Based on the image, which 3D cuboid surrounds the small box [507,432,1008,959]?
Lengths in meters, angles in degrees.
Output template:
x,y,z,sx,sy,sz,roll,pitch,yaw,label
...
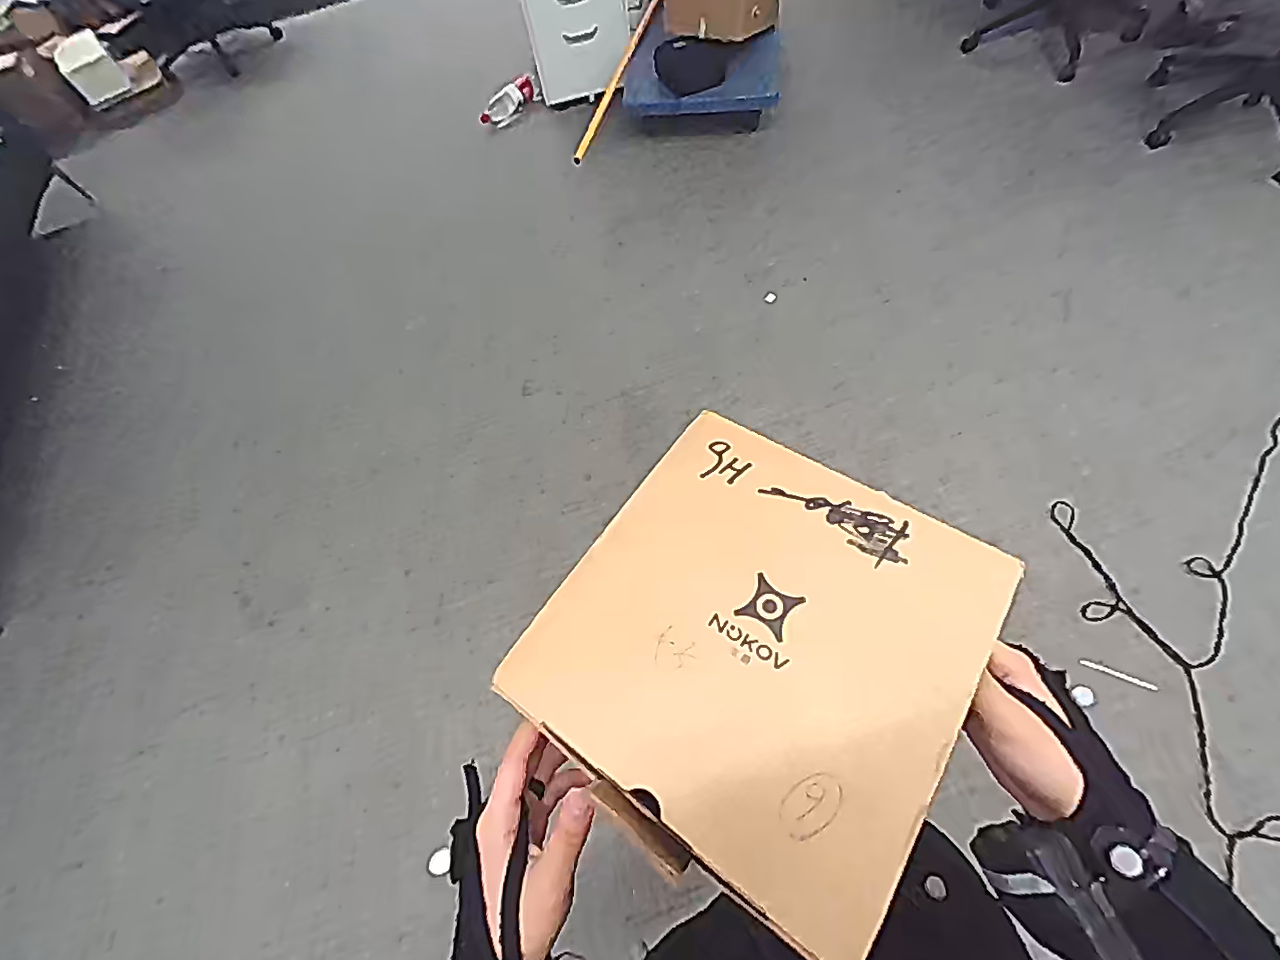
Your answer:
x,y,z,sx,sy,sz,roll,pitch,yaw,label
0.062,0.112,0.311,0.168,0.176,0.179,29,66,23,small box
